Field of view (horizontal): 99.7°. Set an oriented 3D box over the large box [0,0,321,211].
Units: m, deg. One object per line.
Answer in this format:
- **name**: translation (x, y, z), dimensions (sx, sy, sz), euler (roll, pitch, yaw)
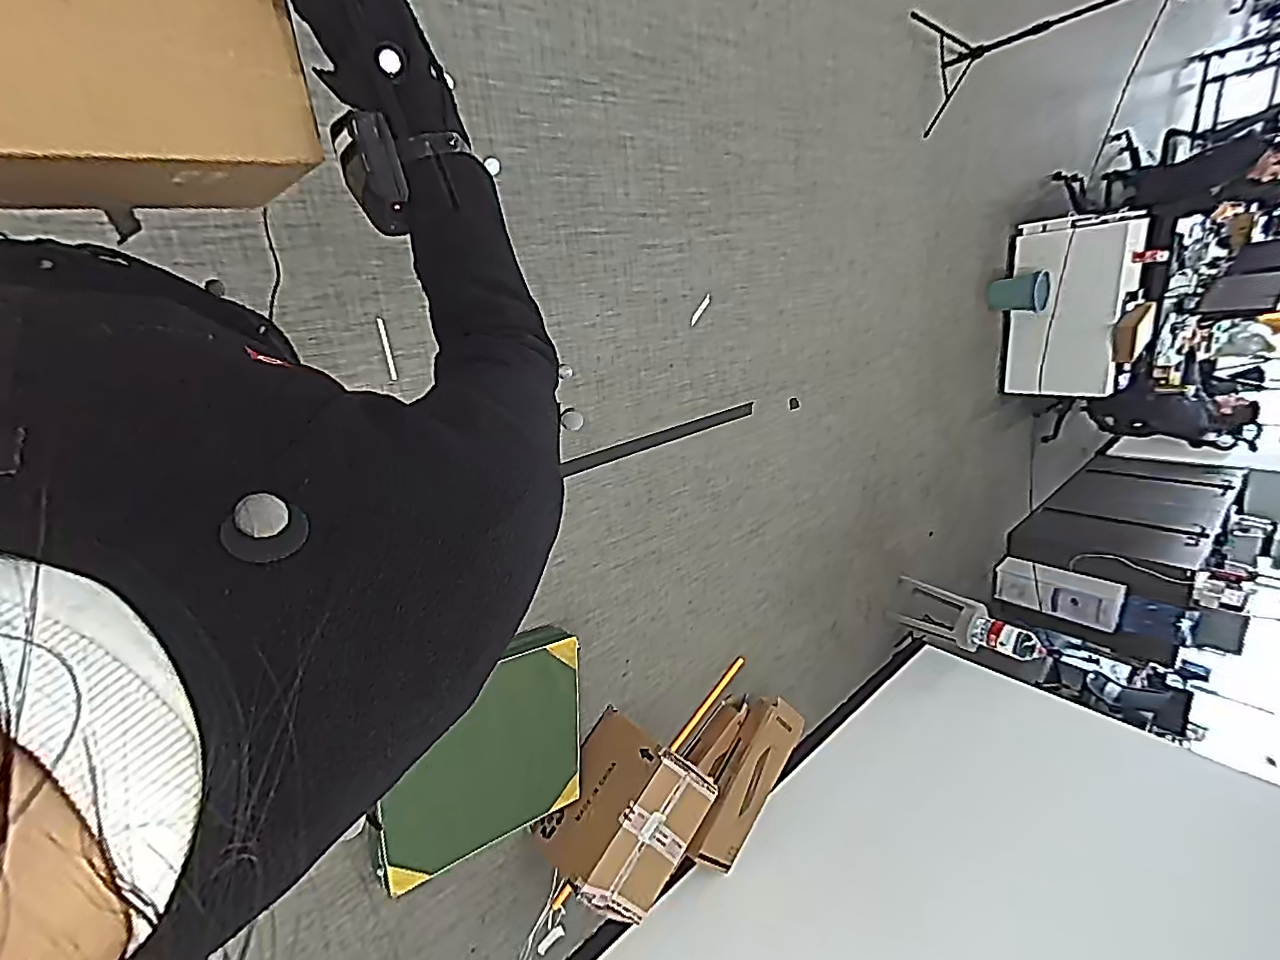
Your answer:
- **large box**: translation (-0.484, -0.341, 0.318), dimensions (0.408, 0.320, 0.320), euler (-23, 121, -35)
